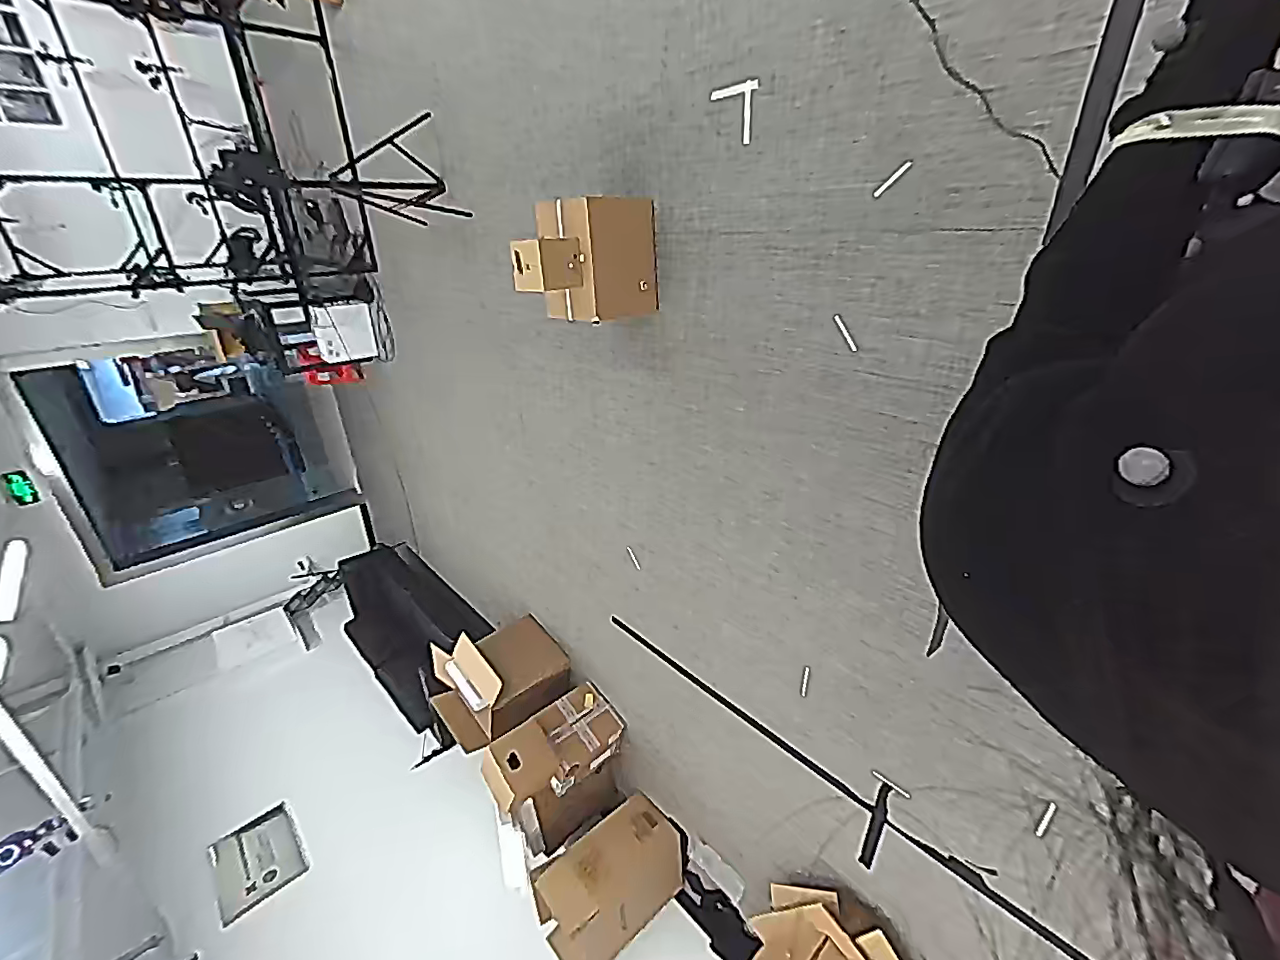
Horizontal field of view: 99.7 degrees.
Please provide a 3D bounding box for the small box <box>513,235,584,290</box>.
[{"bbox_3d":[-0.317,-0.758,1.883,0.179,0.176,0.168,20,123,43],"label":"small box"}]
